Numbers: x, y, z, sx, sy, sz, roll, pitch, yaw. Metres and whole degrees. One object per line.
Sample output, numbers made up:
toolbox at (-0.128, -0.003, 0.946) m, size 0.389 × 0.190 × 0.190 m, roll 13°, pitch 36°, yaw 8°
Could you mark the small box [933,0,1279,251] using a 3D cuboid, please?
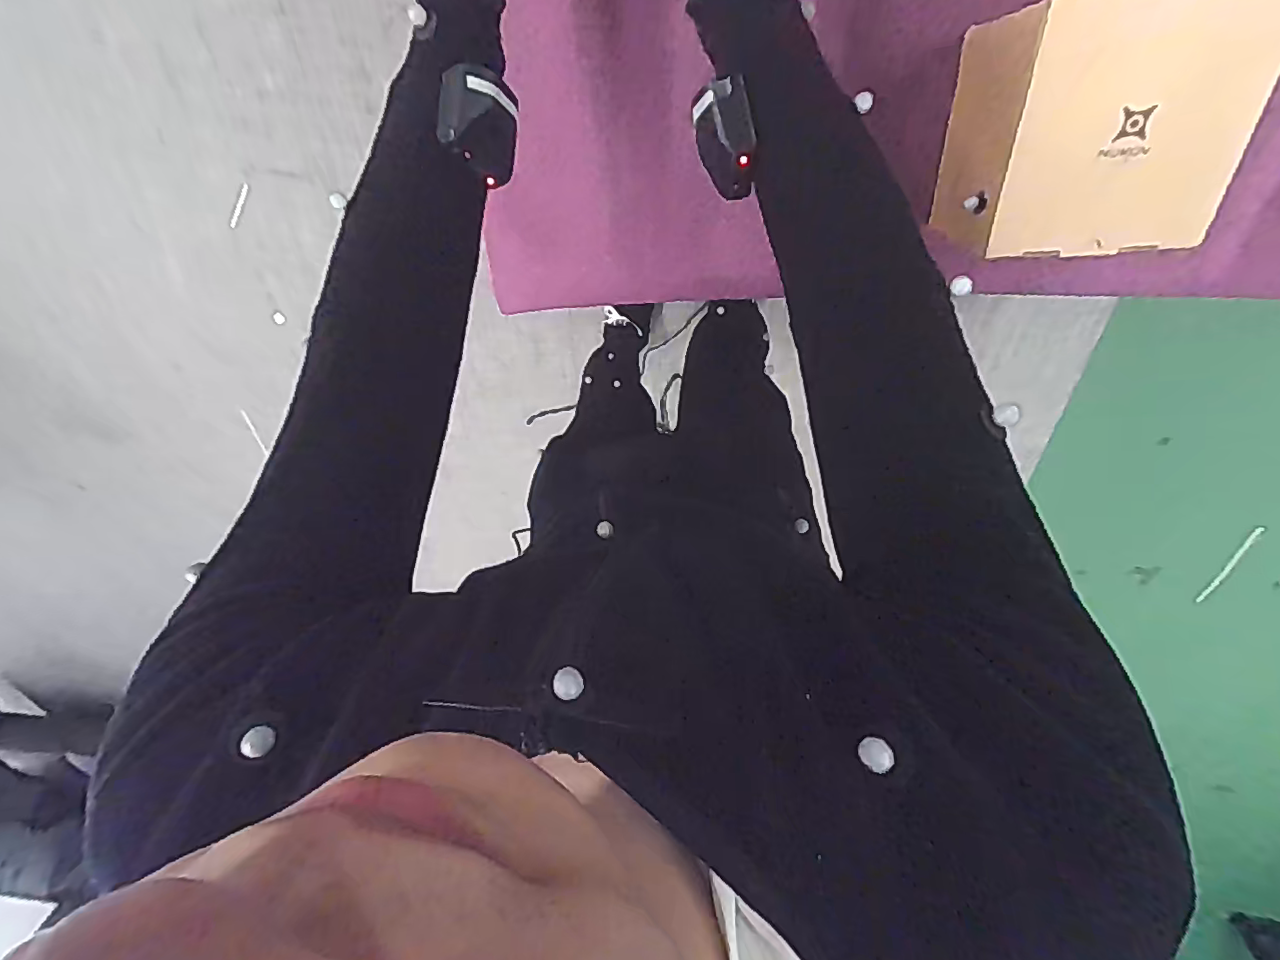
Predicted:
small box at (0.382, -0.315, 0.476) m, size 0.168 × 0.176 × 0.179 m, roll 1°, pitch 125°, yaw 9°
